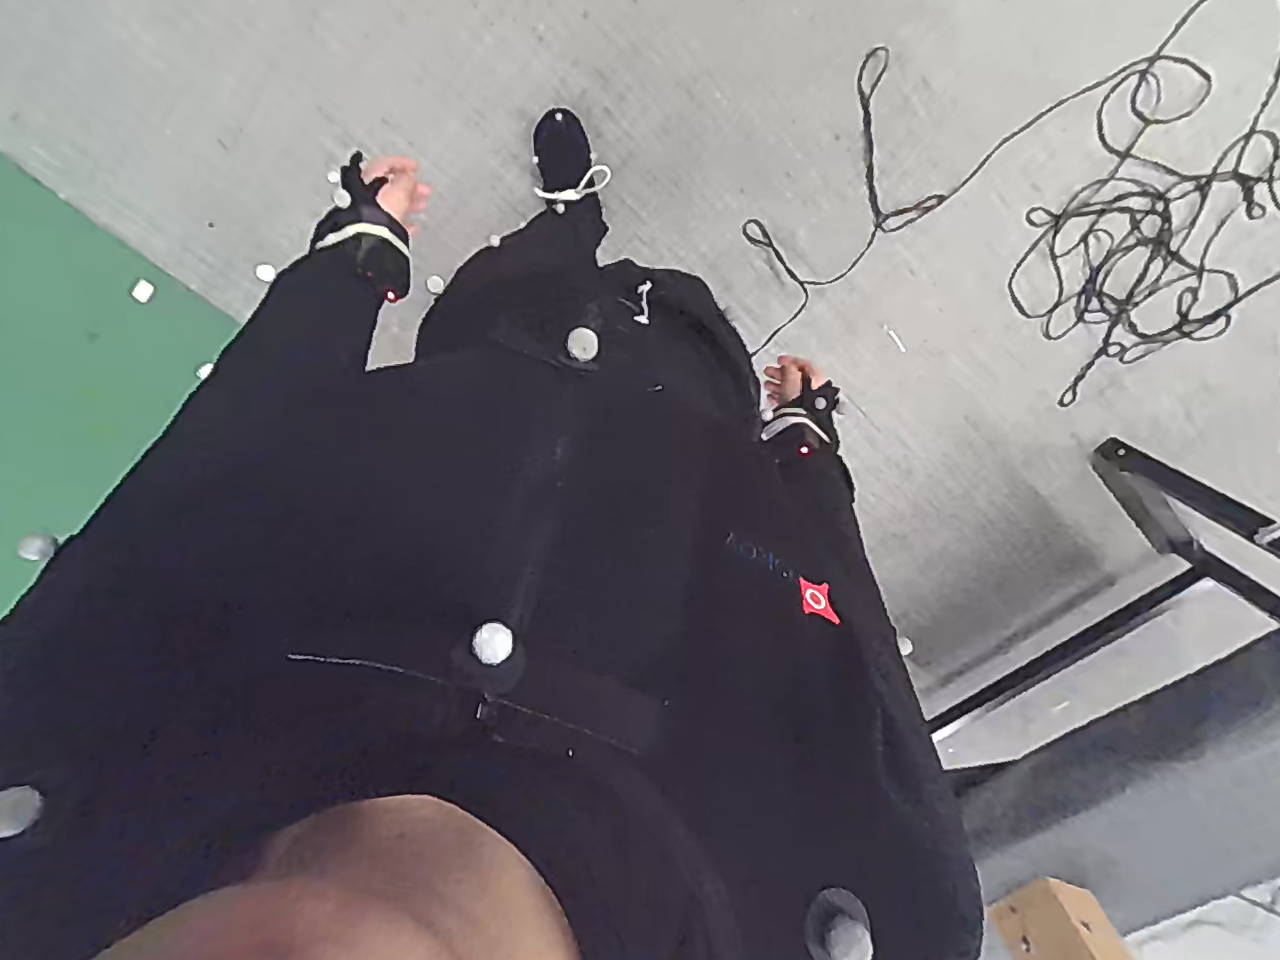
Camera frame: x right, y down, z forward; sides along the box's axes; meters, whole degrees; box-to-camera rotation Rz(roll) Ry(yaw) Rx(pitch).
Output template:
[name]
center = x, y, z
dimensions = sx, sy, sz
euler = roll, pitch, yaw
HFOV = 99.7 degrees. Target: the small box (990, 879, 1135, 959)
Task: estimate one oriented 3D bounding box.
[small box]
center = 0.909, 0.995, 1.163
dimensions = 0.179, 0.176, 0.168
euler = 26, 116, -18
